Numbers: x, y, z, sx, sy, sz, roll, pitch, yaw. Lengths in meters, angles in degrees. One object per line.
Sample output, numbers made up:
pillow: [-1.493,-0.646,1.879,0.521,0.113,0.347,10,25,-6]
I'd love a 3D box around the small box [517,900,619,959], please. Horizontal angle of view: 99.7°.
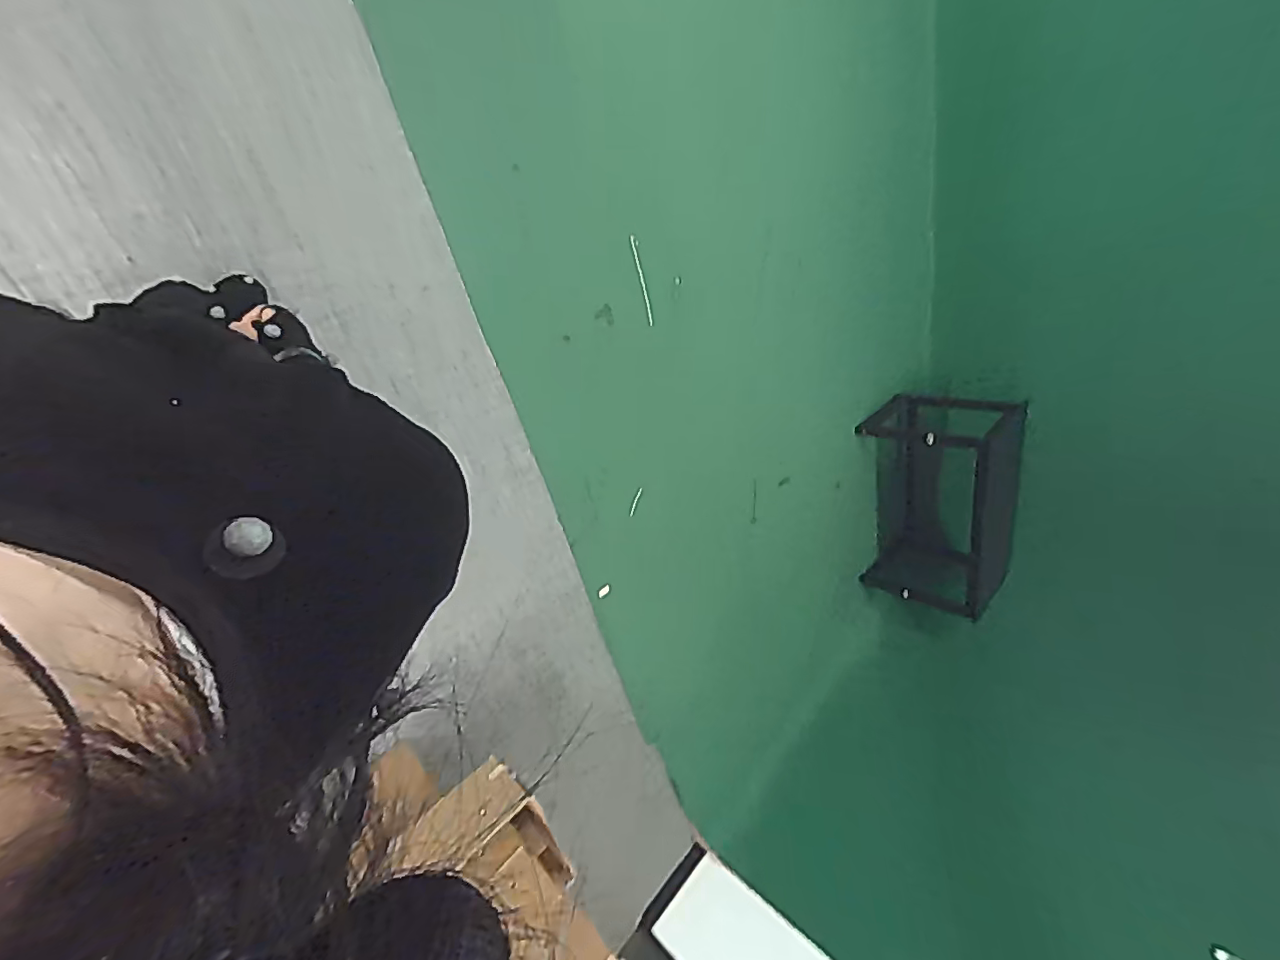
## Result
small box: [-0.139,1.033,1.109,0.179,0.176,0.168,-32,121,-32]
